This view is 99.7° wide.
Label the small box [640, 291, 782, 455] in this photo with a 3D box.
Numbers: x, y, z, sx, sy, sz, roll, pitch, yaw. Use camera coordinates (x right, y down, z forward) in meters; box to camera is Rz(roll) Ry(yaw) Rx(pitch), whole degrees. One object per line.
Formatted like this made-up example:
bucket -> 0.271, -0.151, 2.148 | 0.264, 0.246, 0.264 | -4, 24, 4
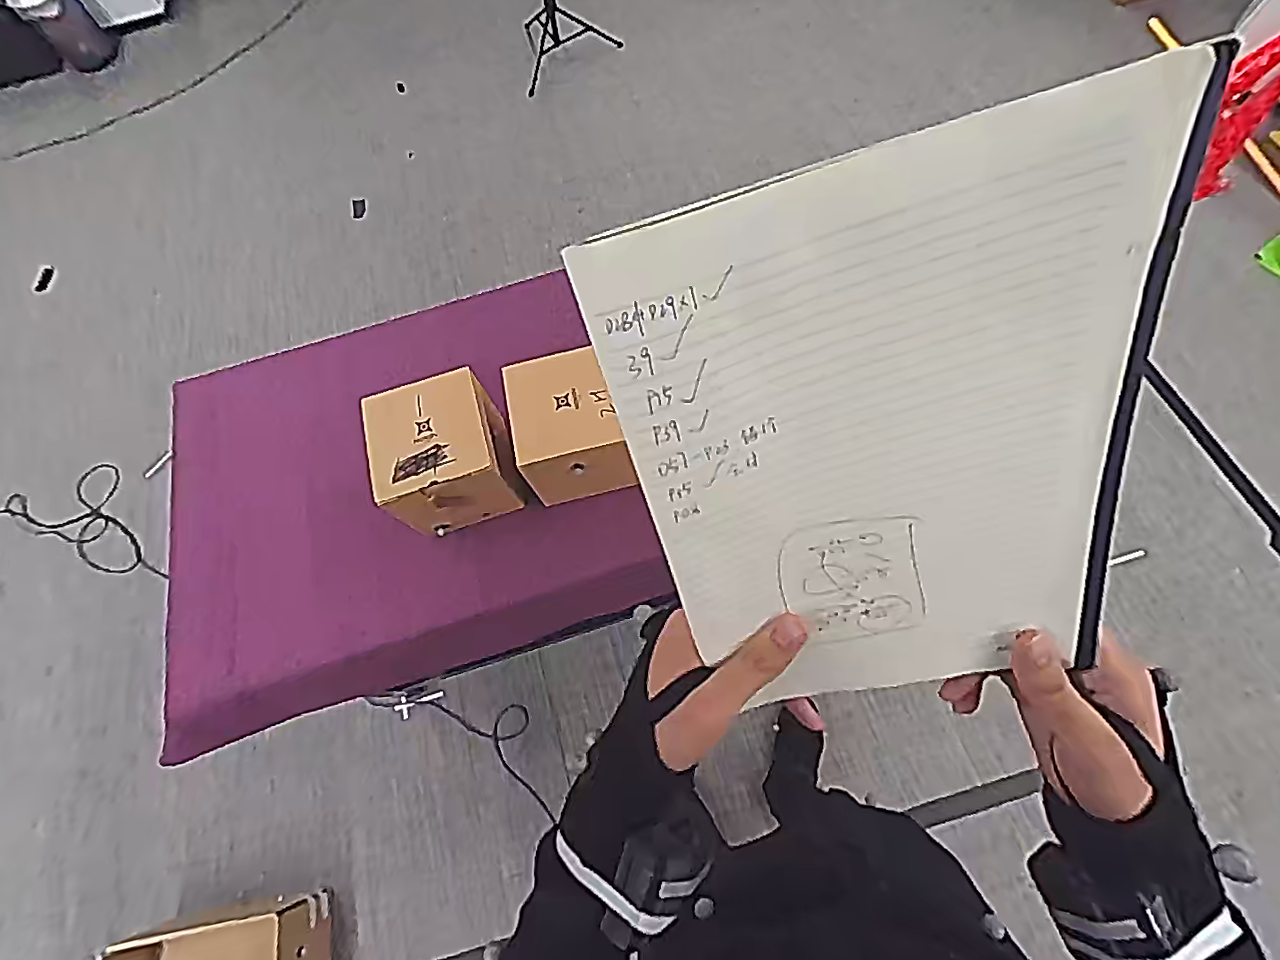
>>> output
small box -> 0.105, -0.155, 0.844 | 0.168, 0.176, 0.179 | -16, 67, -2
